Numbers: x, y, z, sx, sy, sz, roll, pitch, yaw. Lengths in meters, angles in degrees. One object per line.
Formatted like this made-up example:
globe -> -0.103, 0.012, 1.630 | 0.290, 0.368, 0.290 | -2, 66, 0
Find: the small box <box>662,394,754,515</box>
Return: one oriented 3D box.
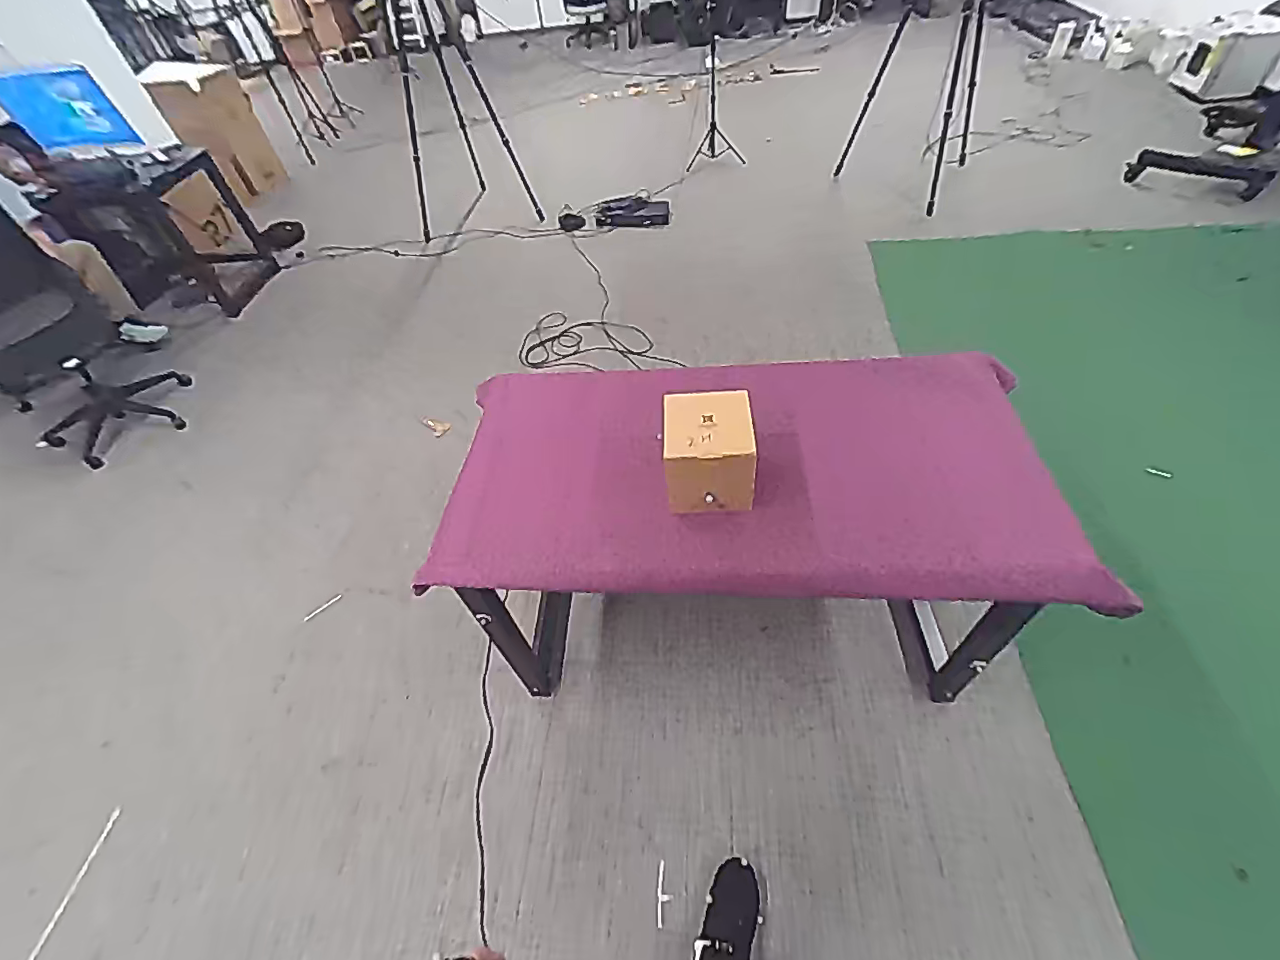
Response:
small box -> 0.131, -0.049, 1.069 | 0.168, 0.176, 0.179 | -3, 49, 6
